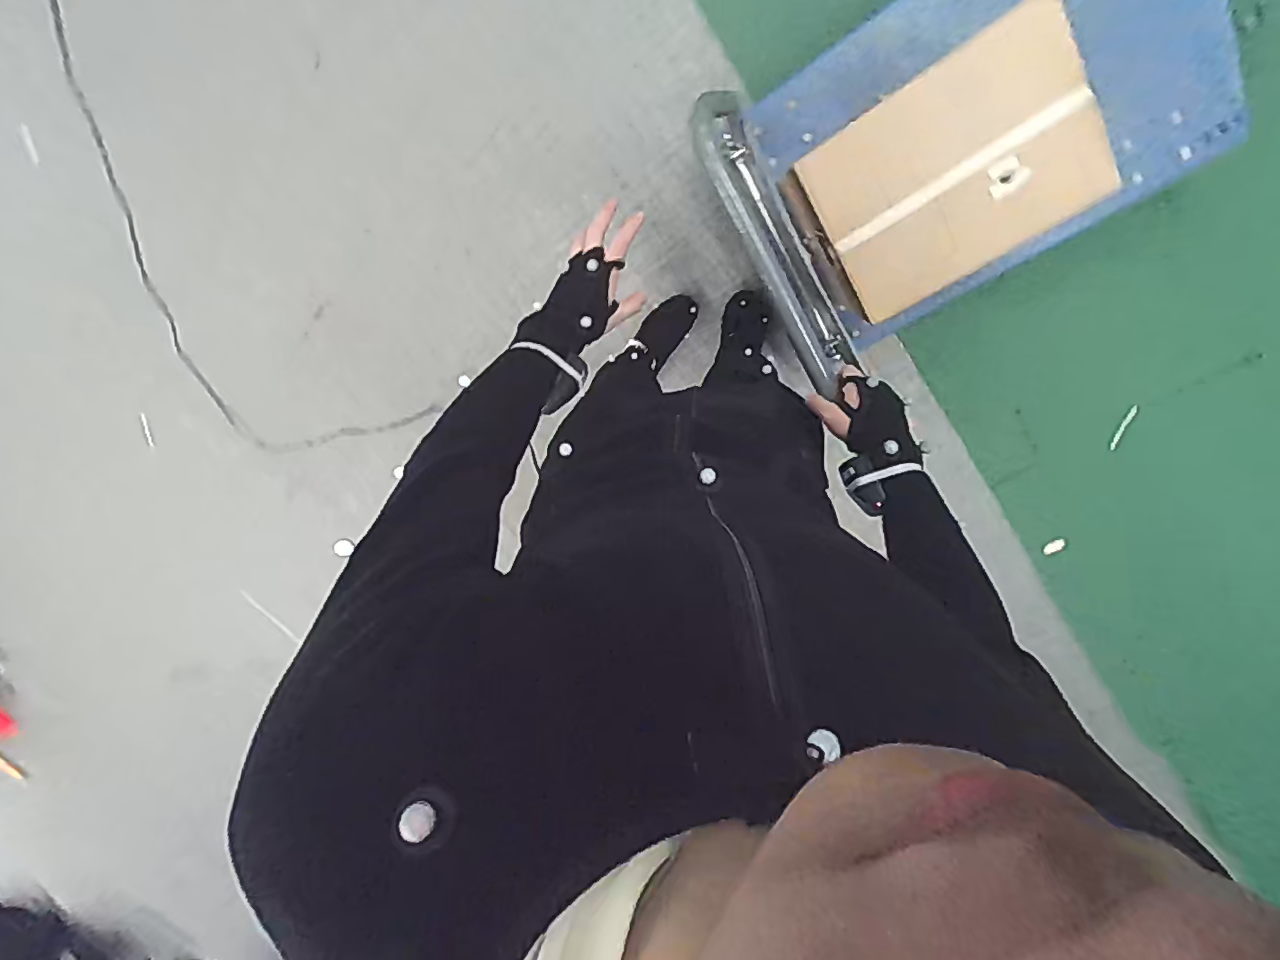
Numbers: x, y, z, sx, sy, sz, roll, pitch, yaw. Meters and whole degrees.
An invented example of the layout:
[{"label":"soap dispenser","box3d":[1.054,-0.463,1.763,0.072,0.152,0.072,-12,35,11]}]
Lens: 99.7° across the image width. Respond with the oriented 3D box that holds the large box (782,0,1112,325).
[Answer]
[{"label":"large box","box3d":[0.527,-0.548,1.016,0.408,0.320,0.320,-28,107,19]}]
